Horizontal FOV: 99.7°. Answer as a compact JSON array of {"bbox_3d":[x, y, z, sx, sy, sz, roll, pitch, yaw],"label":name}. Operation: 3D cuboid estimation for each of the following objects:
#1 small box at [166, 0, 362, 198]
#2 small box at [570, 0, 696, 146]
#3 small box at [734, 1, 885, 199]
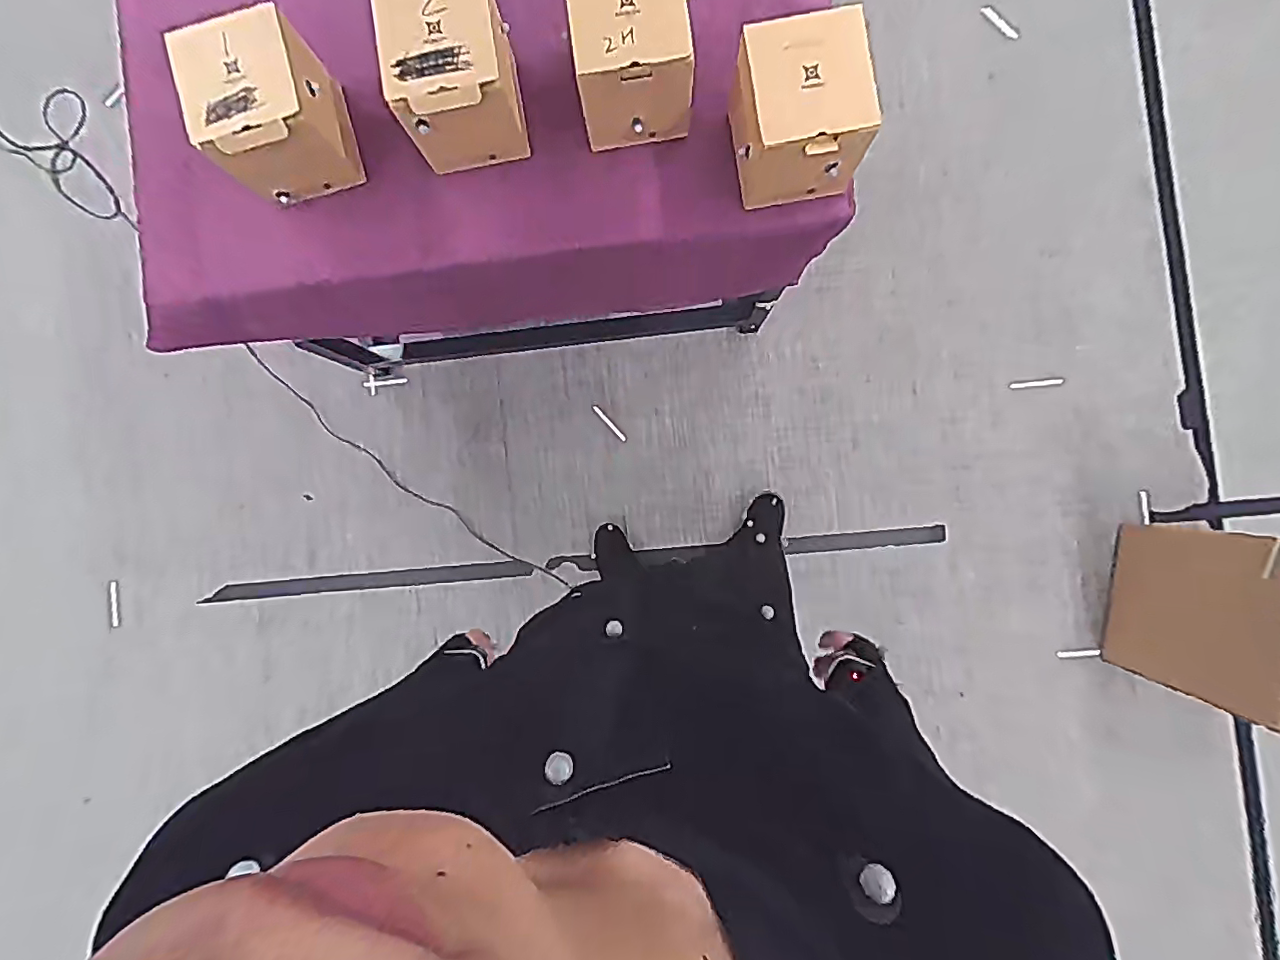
[{"bbox_3d":[-0.563,-0.567,0.835,0.168,0.176,0.179,-16,88,1],"label":"small box"},{"bbox_3d":[-0.012,-0.649,0.817,0.168,0.176,0.179,-7,89,2],"label":"small box"},{"bbox_3d":[0.241,-0.546,0.807,0.168,0.176,0.179,-9,88,2],"label":"small box"}]
